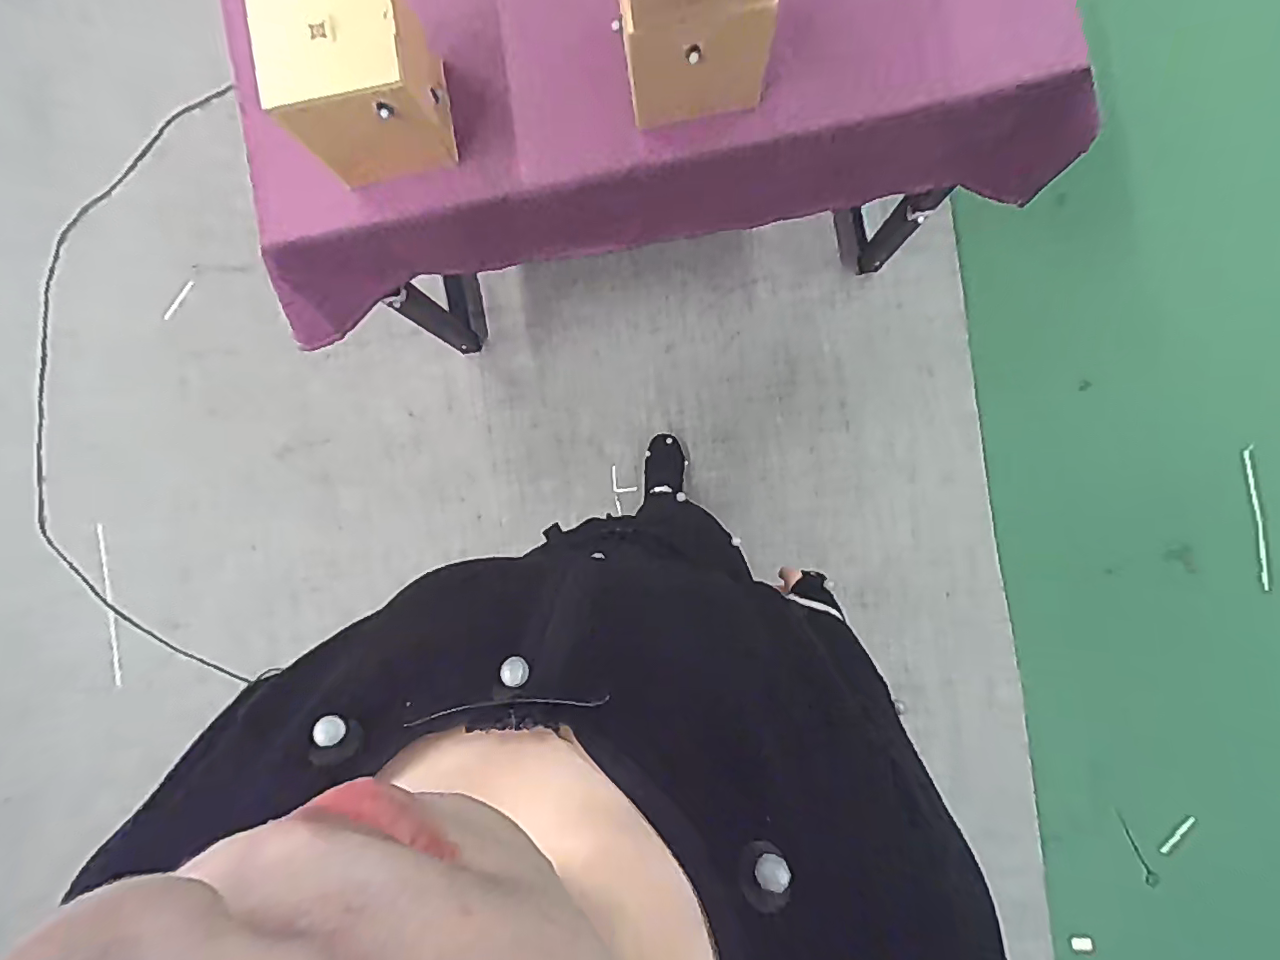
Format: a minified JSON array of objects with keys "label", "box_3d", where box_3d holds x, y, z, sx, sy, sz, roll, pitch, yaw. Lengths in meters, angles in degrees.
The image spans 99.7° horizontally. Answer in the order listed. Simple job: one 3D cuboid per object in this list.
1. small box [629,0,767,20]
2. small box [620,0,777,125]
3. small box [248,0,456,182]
[{"label":"small box","box_3d":[0.056,-0.606,0.534,0.168,0.176,0.179,-10,88,2]},{"label":"small box","box_3d":[0.065,-0.596,0.696,0.179,0.176,0.168,-8,89,3]},{"label":"small box","box_3d":[-0.370,-0.528,0.719,0.179,0.176,0.168,-10,88,2]}]
